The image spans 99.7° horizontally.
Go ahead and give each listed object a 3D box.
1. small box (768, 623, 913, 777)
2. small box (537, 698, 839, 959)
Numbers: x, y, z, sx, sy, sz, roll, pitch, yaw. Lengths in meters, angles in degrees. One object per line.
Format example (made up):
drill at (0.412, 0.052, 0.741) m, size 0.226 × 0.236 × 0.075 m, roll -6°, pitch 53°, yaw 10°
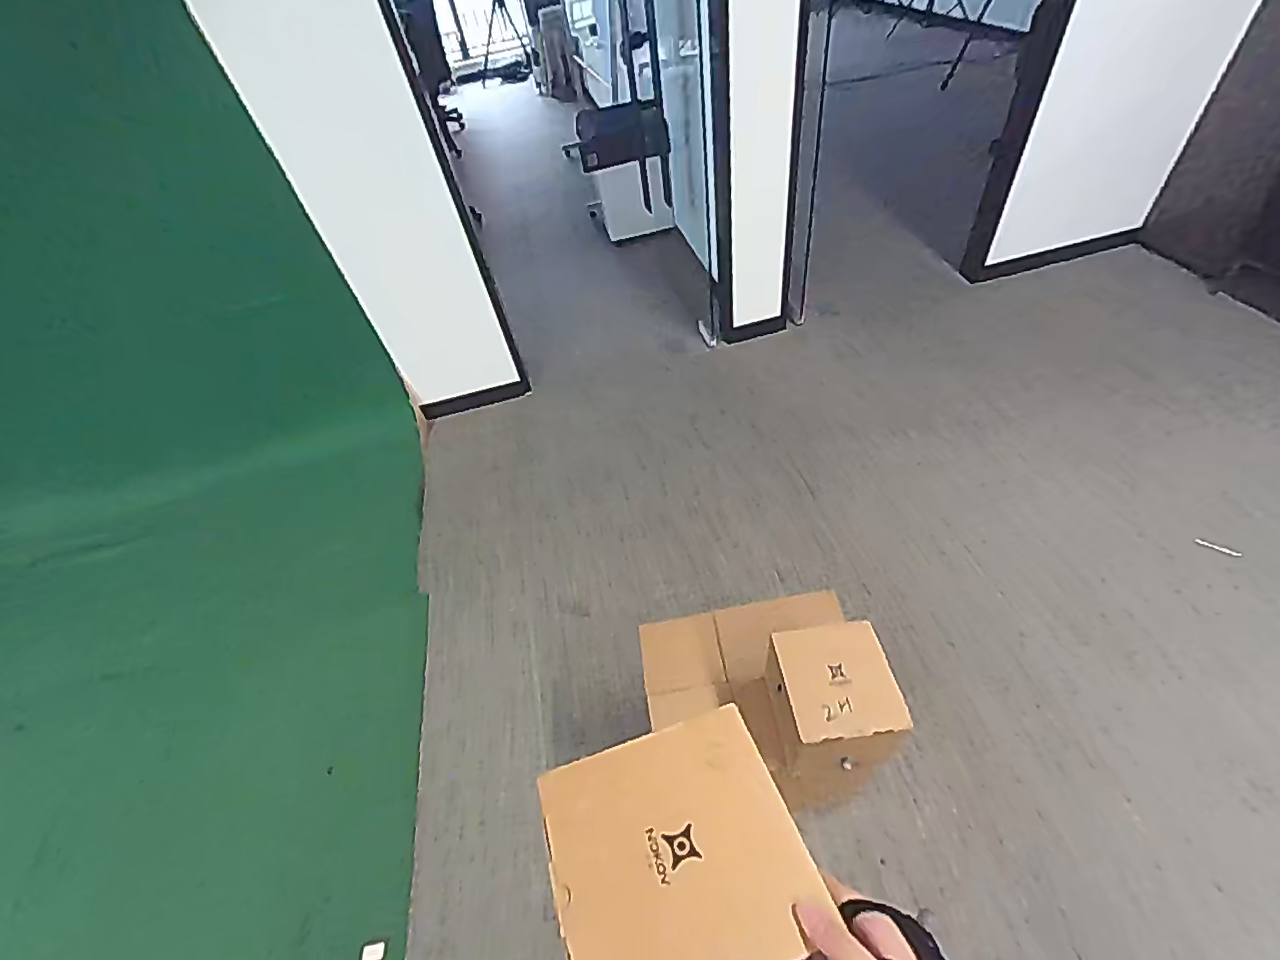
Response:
small box at (0.312, 0.361, 0.887) m, size 0.168 × 0.176 × 0.179 m, roll -9°, pitch 46°, yaw 2°
small box at (0.029, 0.317, 0.441) m, size 0.179 × 0.176 × 0.168 m, roll -16°, pitch 41°, yaw -11°
